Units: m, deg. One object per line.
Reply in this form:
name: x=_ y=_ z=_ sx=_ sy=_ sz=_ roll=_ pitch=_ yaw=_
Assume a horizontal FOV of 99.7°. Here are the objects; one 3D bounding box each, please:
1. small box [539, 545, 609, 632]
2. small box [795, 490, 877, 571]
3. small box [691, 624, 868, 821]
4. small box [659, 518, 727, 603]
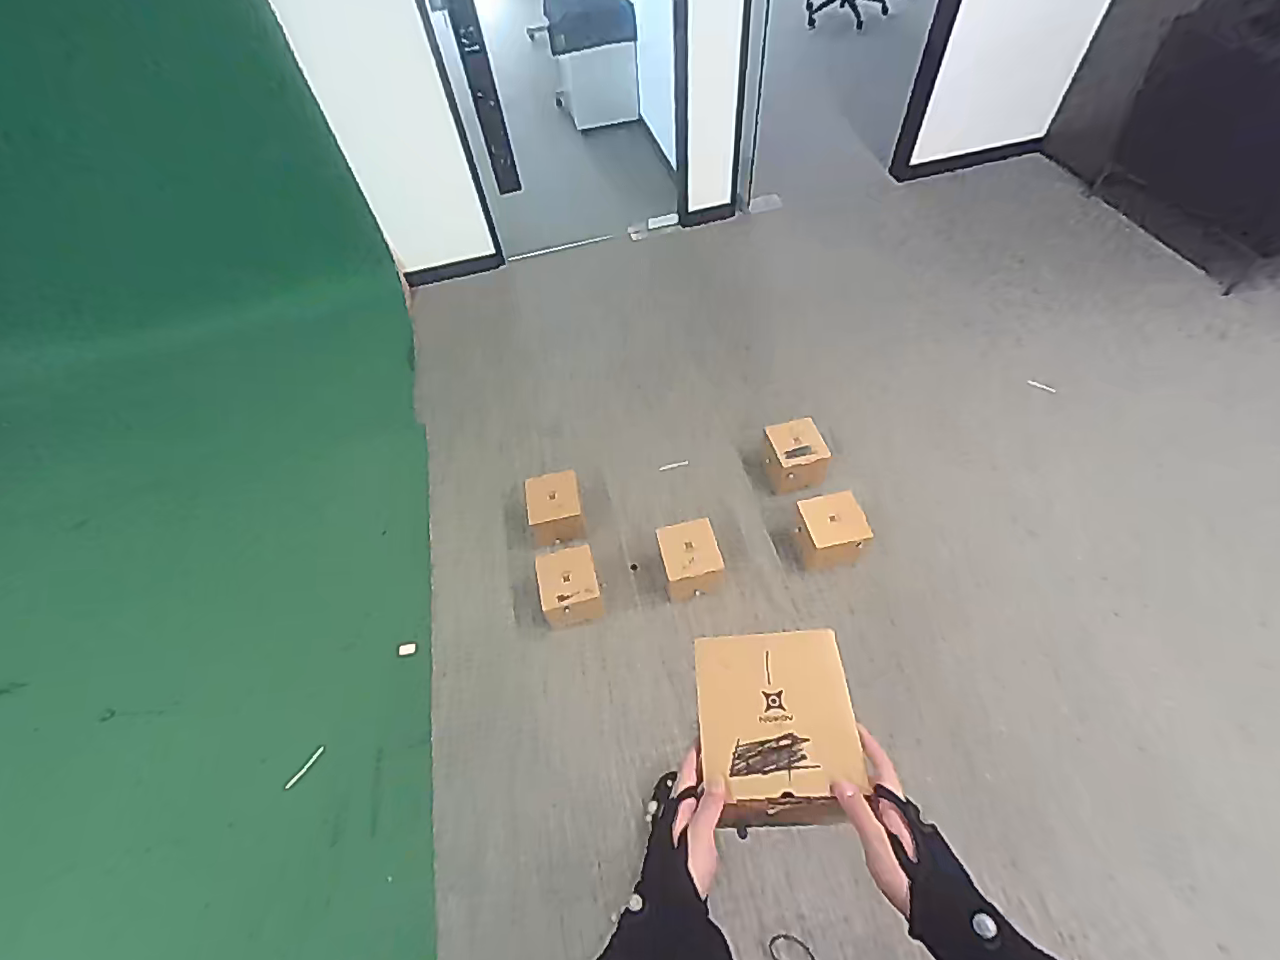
small box: x=-0.194 y=0.322 z=1.596 sx=0.168 sy=0.176 sz=0.179 roll=-14 pitch=54 yaw=-3
small box: x=0.581 y=0.158 z=1.637 sx=0.179 sy=0.176 sz=0.168 roll=-12 pitch=55 yaw=-4
small box: x=0.154 y=0.290 z=0.635 sx=0.168 sy=0.176 sz=0.179 roll=-6 pitch=48 yaw=7
small box: x=0.155 y=0.243 z=1.617 sx=0.168 sy=0.176 sz=0.179 roll=-13 pitch=55 yaw=-3
